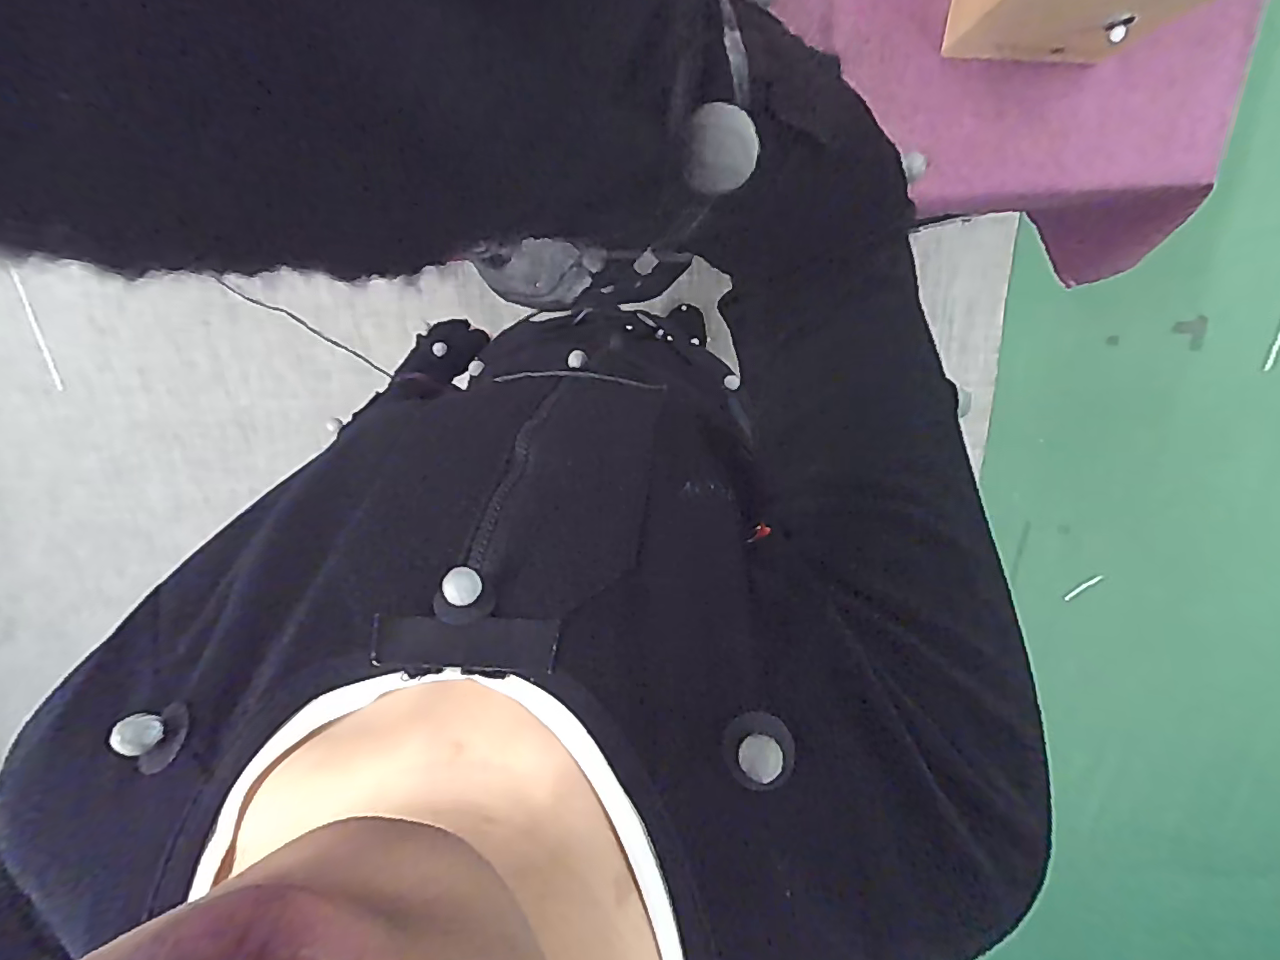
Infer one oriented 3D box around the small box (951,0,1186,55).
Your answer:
[{"bbox_3d":[0.397,-0.495,0.456,0.168,0.176,0.179,5,109,1],"label":"small box"}]
